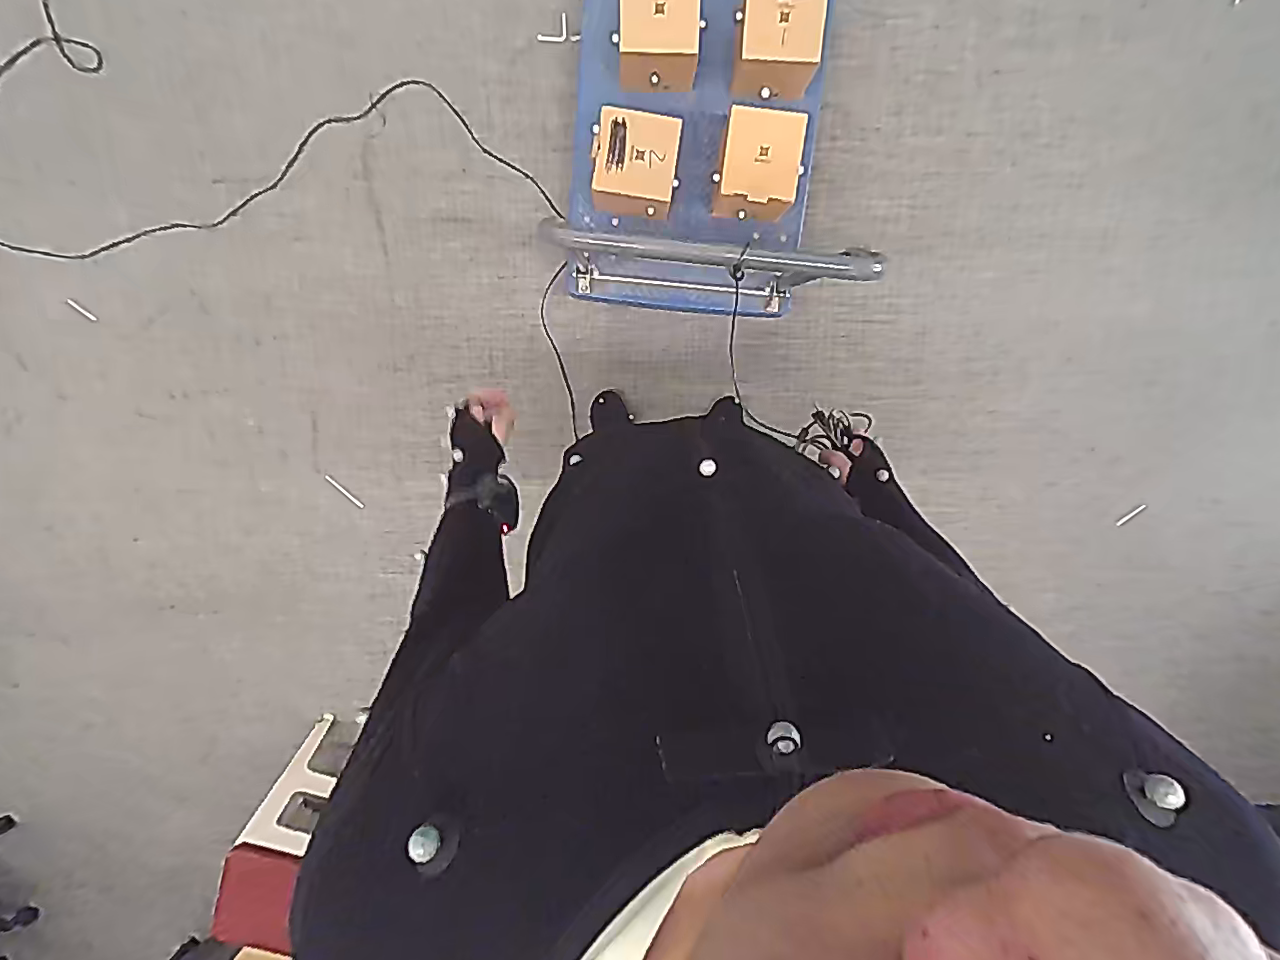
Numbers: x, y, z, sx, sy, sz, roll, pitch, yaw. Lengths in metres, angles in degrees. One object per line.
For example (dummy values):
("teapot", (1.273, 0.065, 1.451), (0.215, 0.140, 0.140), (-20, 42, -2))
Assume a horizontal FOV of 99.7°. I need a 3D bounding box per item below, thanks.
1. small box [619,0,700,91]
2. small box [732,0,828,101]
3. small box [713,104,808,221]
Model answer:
("small box", (0.041, -0.981, 1.175), (0.168, 0.176, 0.179), (2, 101, -1))
("small box", (0.299, -0.967, 1.176), (0.168, 0.176, 0.179), (4, 102, 0))
("small box", (0.265, -0.711, 1.230), (0.168, 0.176, 0.179), (6, 102, -1))
